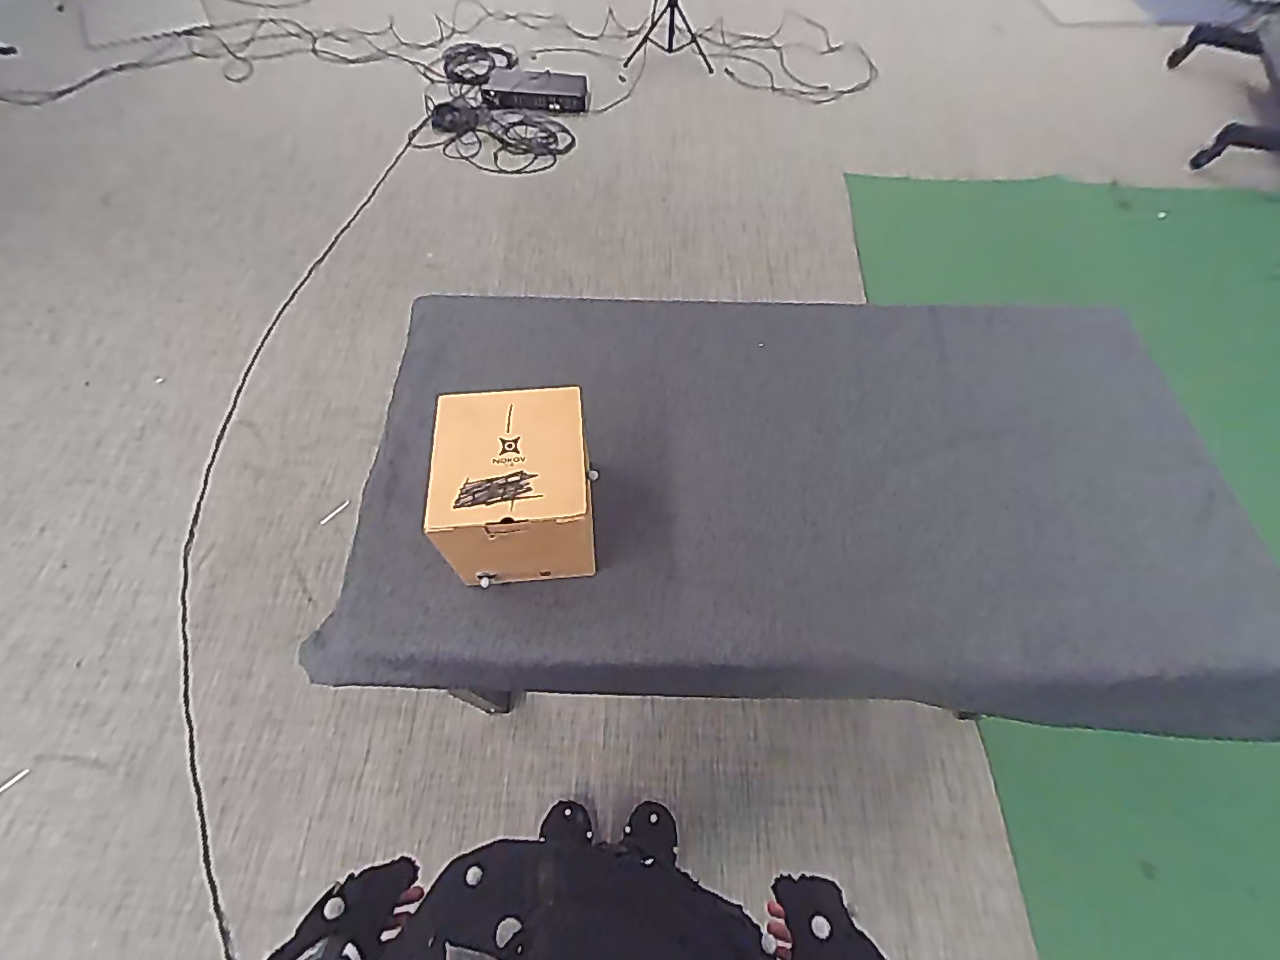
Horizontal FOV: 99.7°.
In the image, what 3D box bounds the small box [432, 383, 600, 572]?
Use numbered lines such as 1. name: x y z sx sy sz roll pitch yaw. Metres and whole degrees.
1. small box: -0.139 0.005 0.665 0.168 0.176 0.179 -4 60 -3
